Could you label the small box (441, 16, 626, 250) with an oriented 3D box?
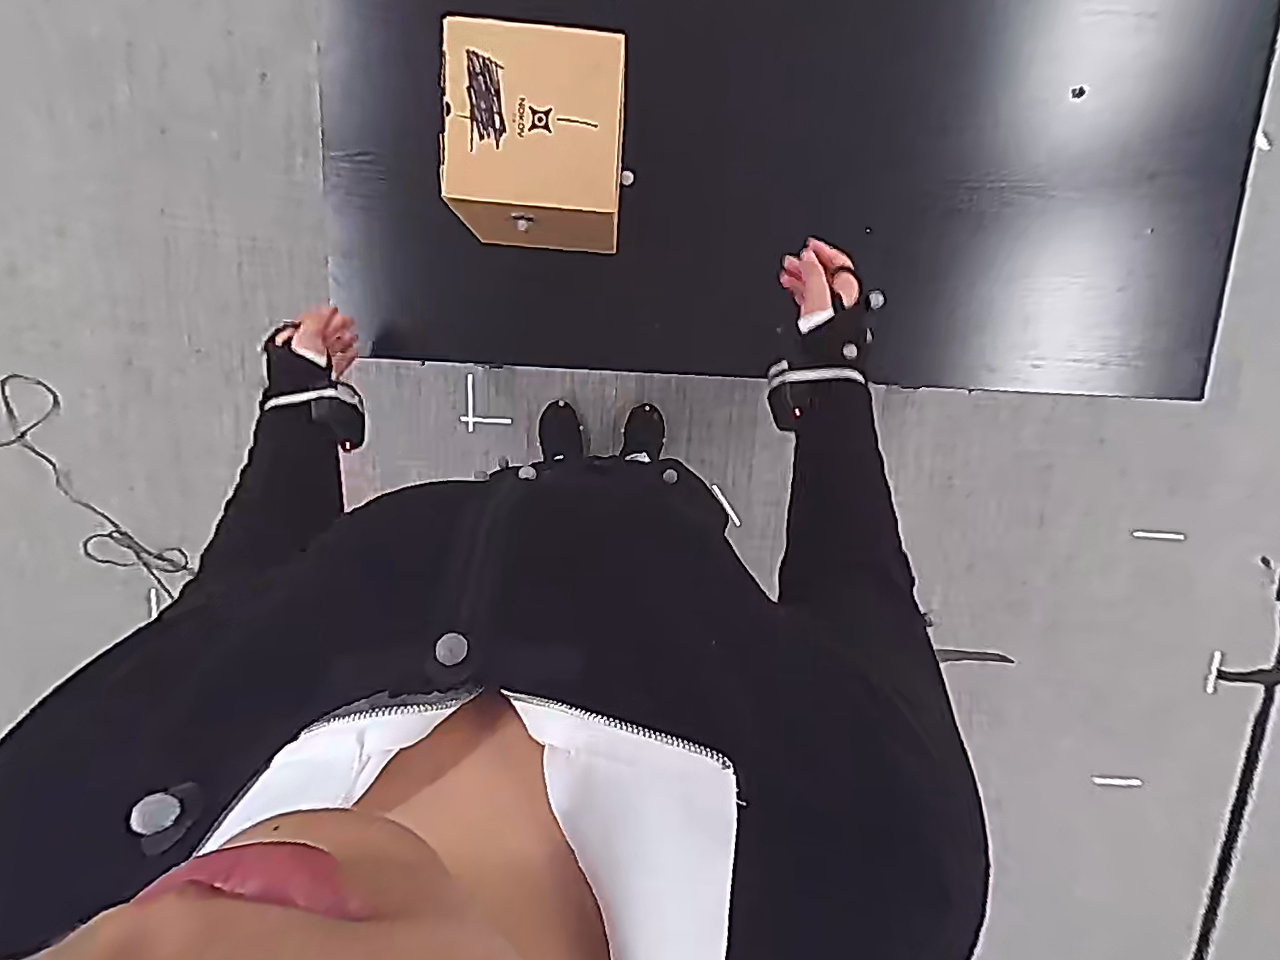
[{"bbox_3d":[-0.111,-0.373,0.616,0.179,0.176,0.168,4,99,-4],"label":"small box"}]
